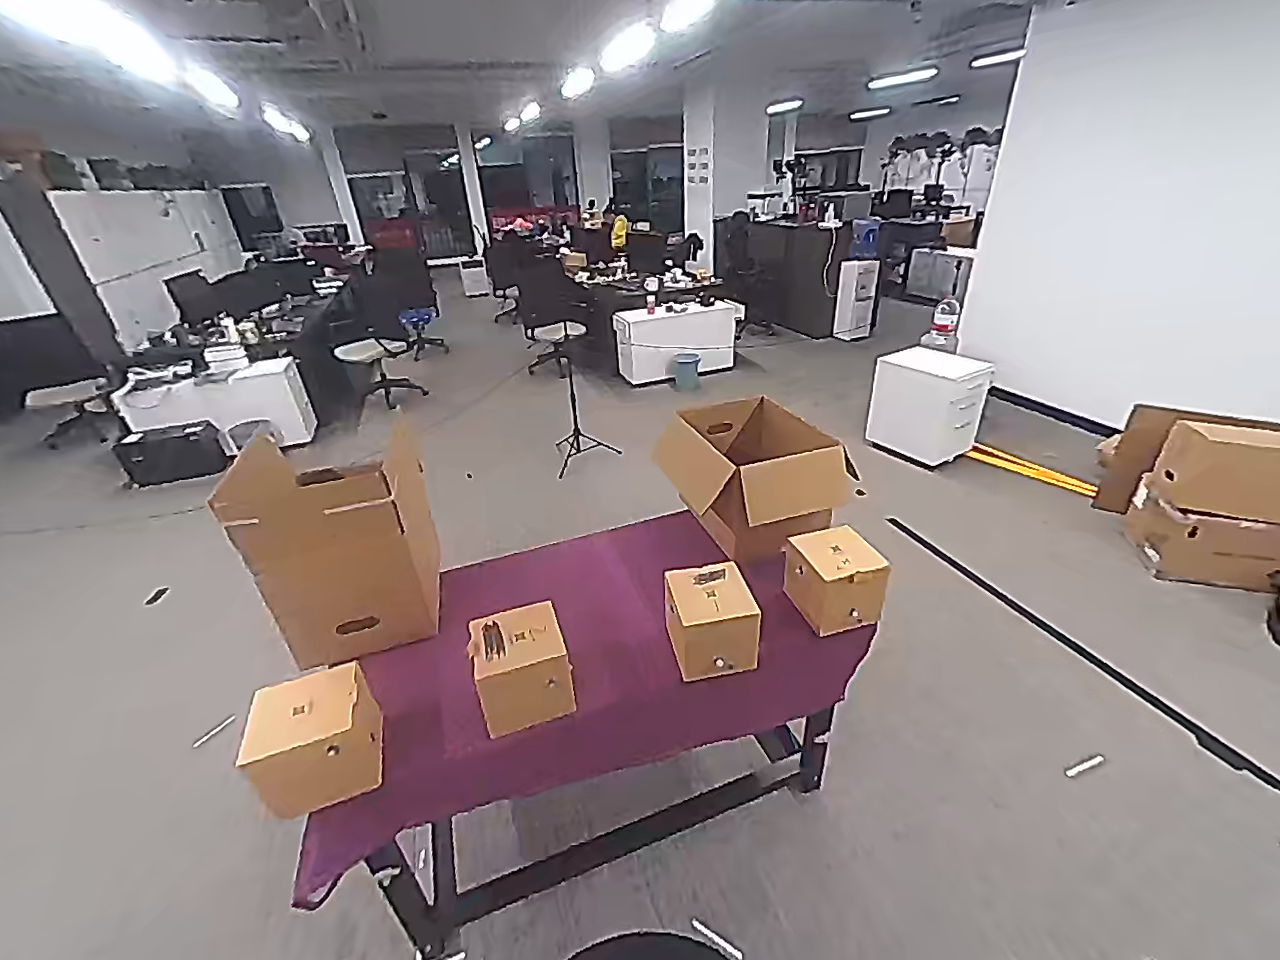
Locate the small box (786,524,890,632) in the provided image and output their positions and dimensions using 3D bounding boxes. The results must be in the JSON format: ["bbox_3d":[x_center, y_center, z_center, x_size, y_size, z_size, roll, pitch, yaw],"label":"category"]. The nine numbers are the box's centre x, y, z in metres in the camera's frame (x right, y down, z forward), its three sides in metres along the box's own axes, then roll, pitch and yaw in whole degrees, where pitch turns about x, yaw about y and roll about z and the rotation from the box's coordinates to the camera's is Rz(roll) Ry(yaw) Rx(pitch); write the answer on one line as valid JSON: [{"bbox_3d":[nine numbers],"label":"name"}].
[{"bbox_3d":[0.462,0.233,1.294,0.168,0.176,0.179,-11,30,-10],"label":"small box"}]

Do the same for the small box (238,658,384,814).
[{"bbox_3d":[-0.591,0.470,0.996,0.179,0.176,0.168,-13,31,-18],"label":"small box"}]
